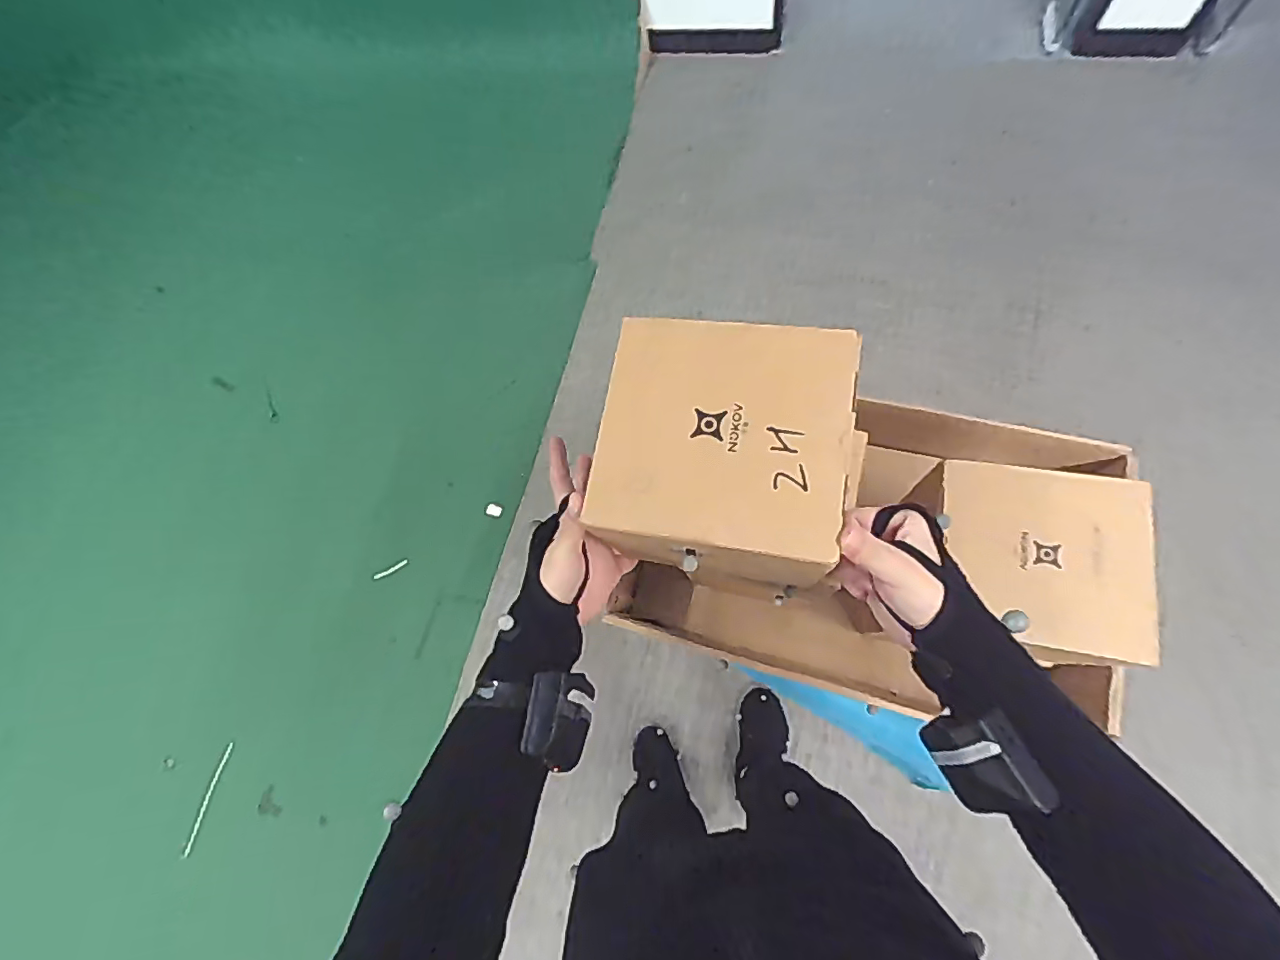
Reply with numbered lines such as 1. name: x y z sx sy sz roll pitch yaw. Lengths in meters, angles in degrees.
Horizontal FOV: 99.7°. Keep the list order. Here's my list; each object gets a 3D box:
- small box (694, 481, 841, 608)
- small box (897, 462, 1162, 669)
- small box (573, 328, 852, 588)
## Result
1. small box: 0.175 0.083 0.786 0.179 0.176 0.168 12 76 13
2. small box: 0.381 0.093 0.563 0.179 0.176 0.168 8 75 14
3. small box: 0.066 -0.008 0.454 0.179 0.176 0.168 7 76 13
